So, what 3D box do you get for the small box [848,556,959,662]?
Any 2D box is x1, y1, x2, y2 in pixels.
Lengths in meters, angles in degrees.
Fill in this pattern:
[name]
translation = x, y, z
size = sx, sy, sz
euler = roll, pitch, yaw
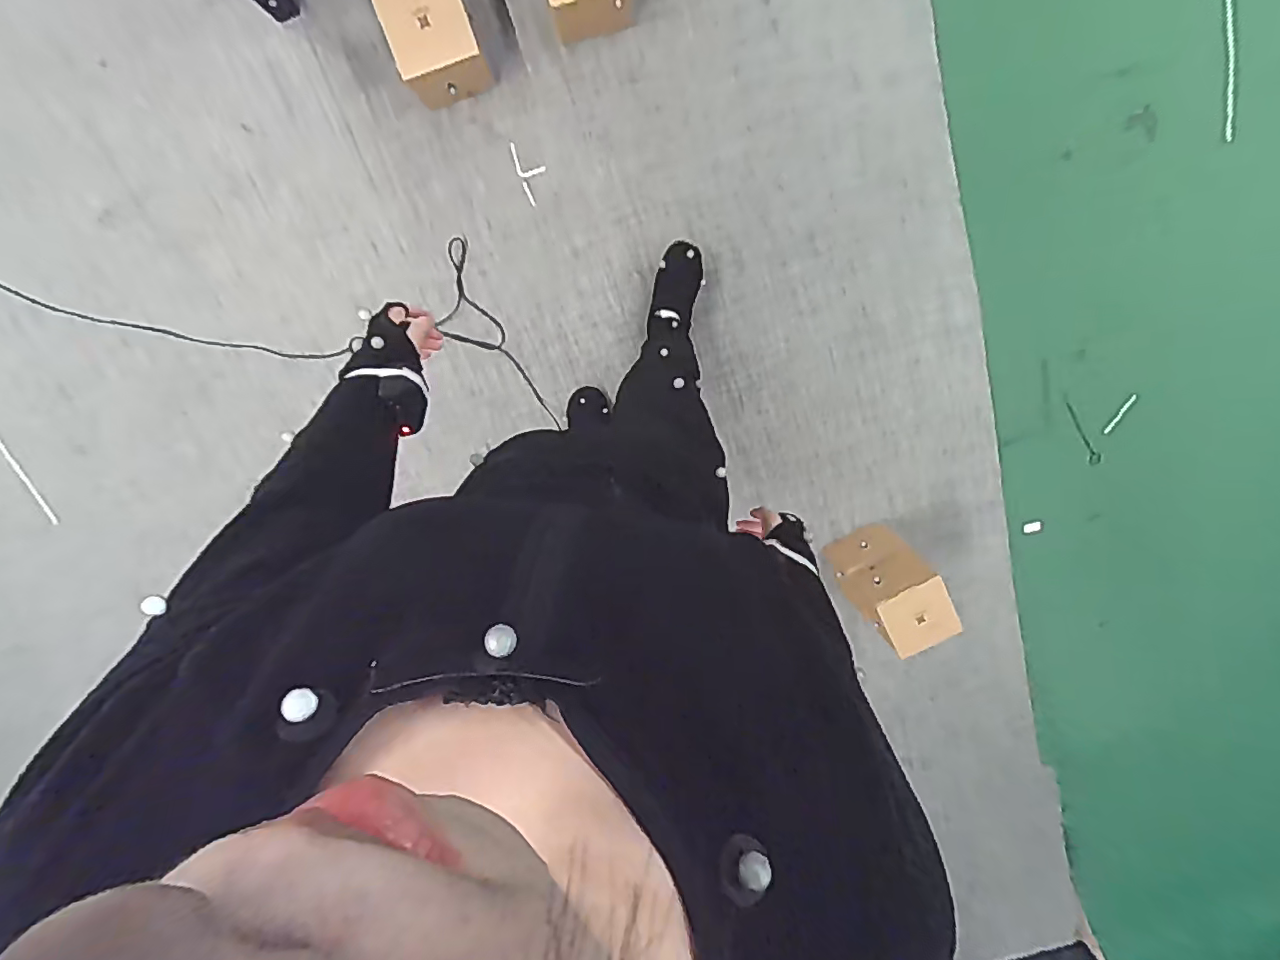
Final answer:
[small box]
translation = 0.654, 0.312, 1.360
size = 0.168, 0.176, 0.179
euler = -28, 106, 7
